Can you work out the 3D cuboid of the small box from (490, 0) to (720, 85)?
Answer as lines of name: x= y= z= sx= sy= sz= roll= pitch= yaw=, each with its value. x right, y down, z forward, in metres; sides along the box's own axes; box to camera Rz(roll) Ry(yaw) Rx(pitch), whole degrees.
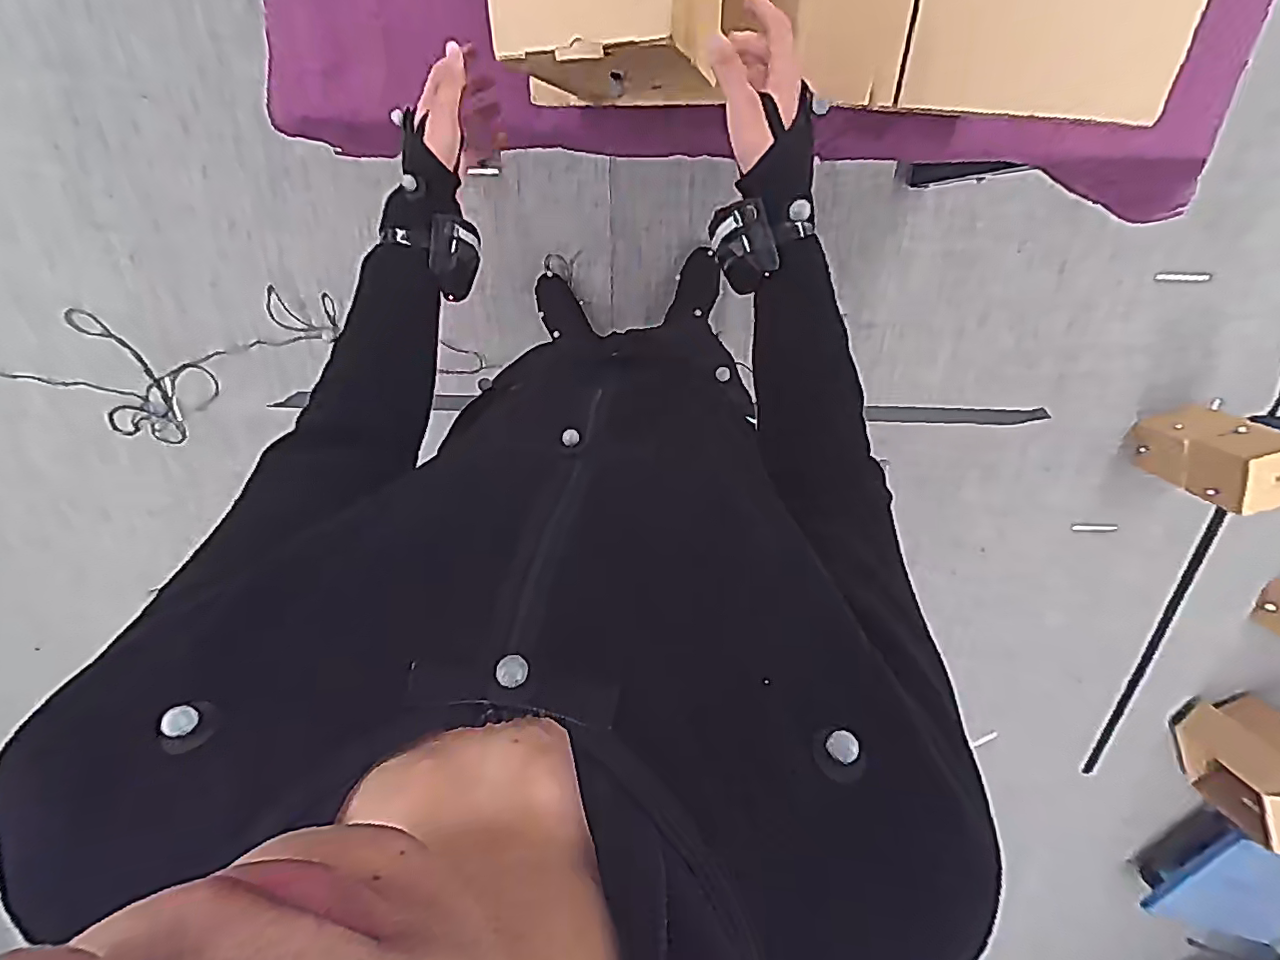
small box: x=-0.022 y=-0.471 z=0.483 sx=0.168 sy=0.176 sz=0.179 roll=10 pitch=118 yaw=17
